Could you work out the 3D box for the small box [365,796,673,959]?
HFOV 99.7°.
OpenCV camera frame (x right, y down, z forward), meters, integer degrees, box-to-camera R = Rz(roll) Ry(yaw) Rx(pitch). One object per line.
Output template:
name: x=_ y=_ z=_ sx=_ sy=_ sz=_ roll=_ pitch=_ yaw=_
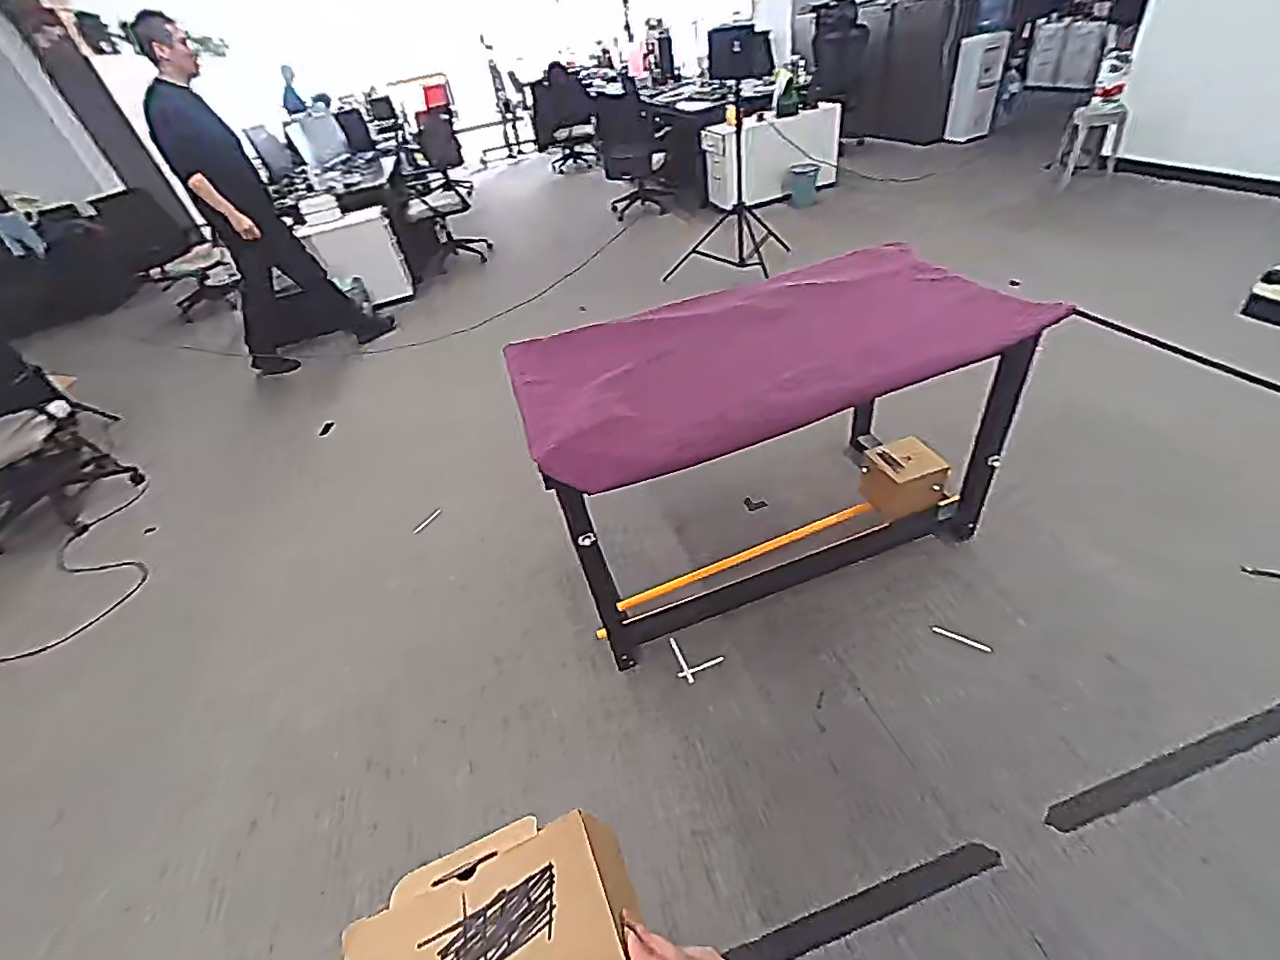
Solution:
small box: x=-0.064 y=0.357 z=0.376 sx=0.168 sy=0.176 sz=0.179 roll=-22 pitch=55 yaw=-10
